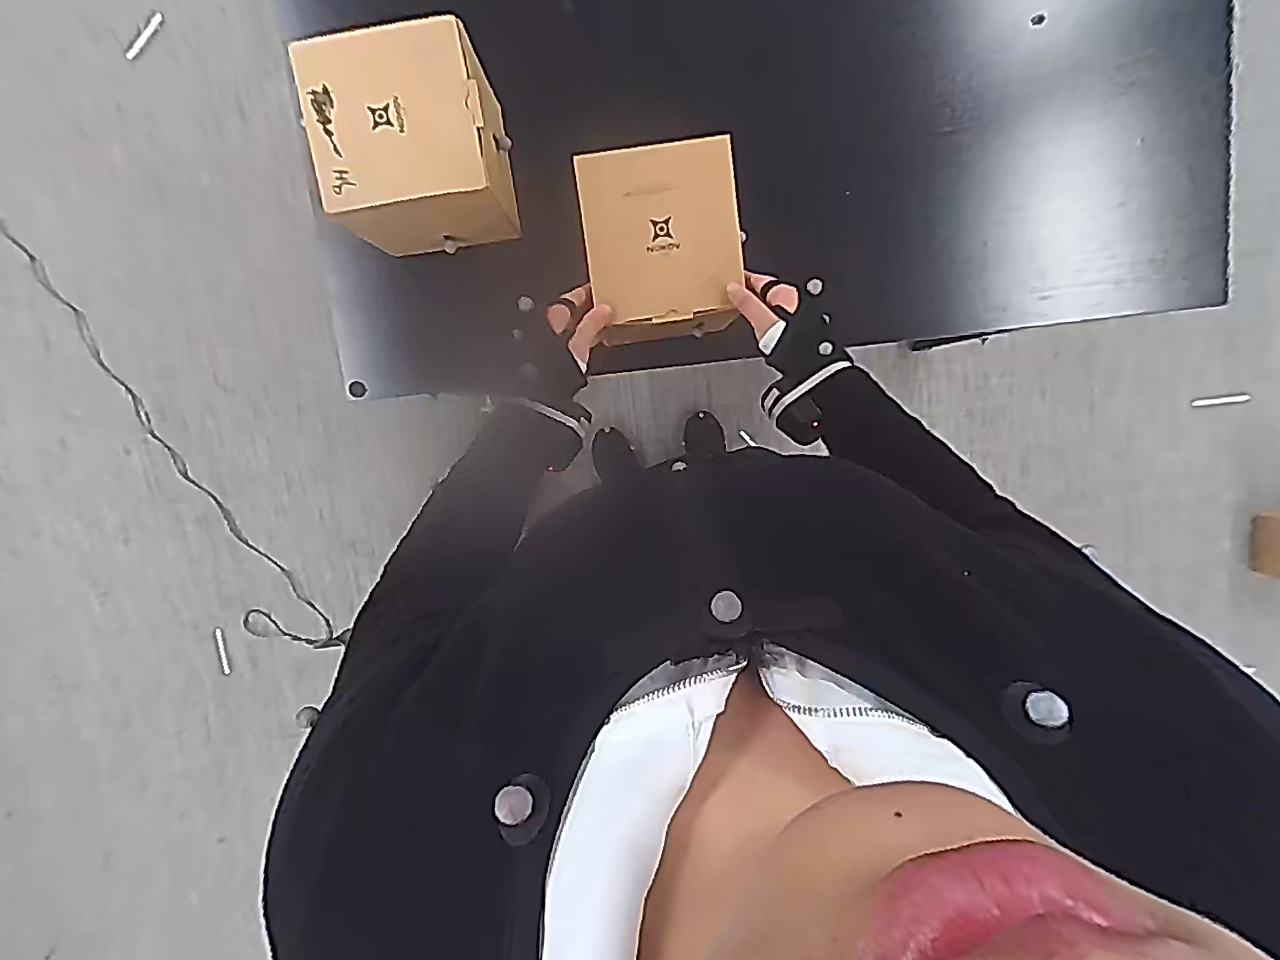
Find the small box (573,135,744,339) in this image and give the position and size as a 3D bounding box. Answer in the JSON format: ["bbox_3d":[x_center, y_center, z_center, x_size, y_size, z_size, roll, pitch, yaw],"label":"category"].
[{"bbox_3d":[0.020,-0.271,0.648,0.168,0.176,0.179,-8,96,-1],"label":"small box"}]

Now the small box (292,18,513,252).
[{"bbox_3d":[-0.253,-0.380,0.627,0.179,0.176,0.168,-9,97,-1],"label":"small box"}]

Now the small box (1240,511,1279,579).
[{"bbox_3d":[1.803,0.178,1.468,0.168,0.176,0.179,-6,98,1],"label":"small box"}]
